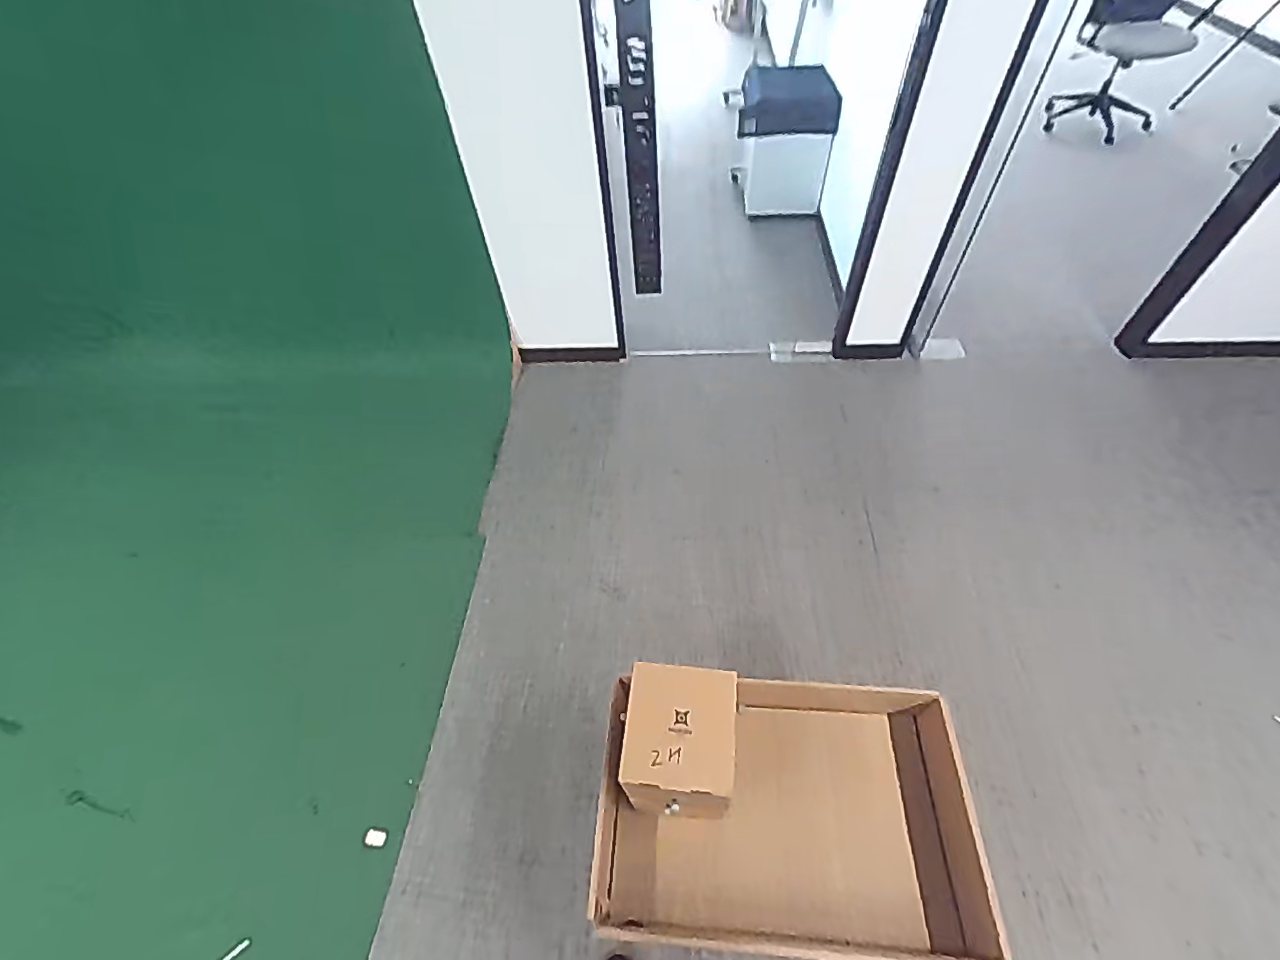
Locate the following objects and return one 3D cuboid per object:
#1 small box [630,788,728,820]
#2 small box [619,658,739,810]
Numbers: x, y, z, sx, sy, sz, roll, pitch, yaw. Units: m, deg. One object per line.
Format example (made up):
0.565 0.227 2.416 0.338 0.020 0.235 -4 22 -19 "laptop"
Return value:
0.075 0.511 1.002 0.168 0.176 0.179 3 52 6 "small box"
0.066 0.410 0.872 0.168 0.176 0.179 4 53 8 "small box"
